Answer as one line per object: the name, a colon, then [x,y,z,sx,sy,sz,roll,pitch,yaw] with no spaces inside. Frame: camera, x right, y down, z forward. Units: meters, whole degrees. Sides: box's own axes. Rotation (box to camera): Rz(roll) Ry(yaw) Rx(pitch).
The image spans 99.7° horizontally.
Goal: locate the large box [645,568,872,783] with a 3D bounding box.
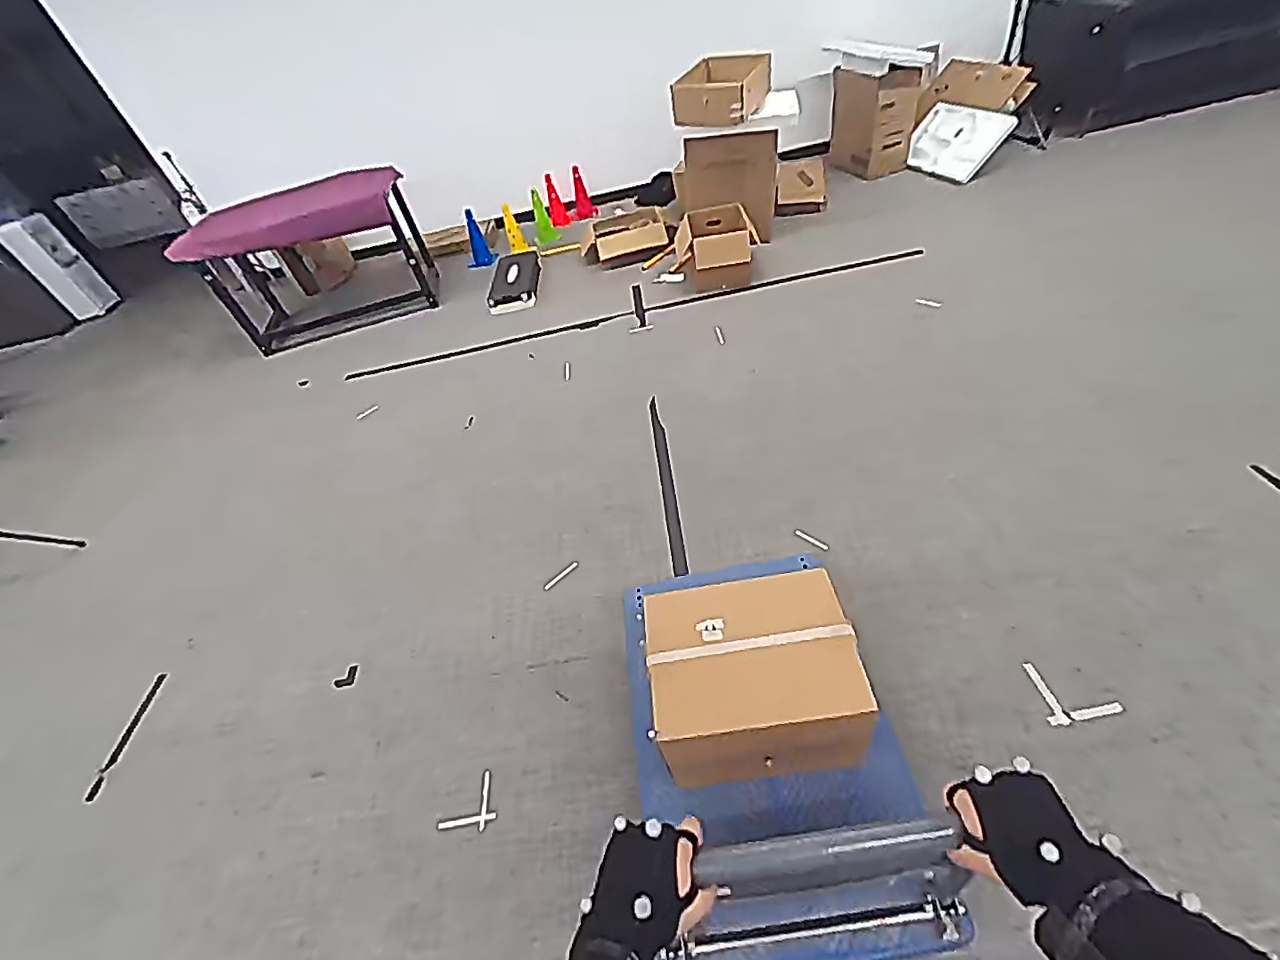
large box: [0.246,0.439,1.199,0.408,0.320,0.320,-11,44,5]
